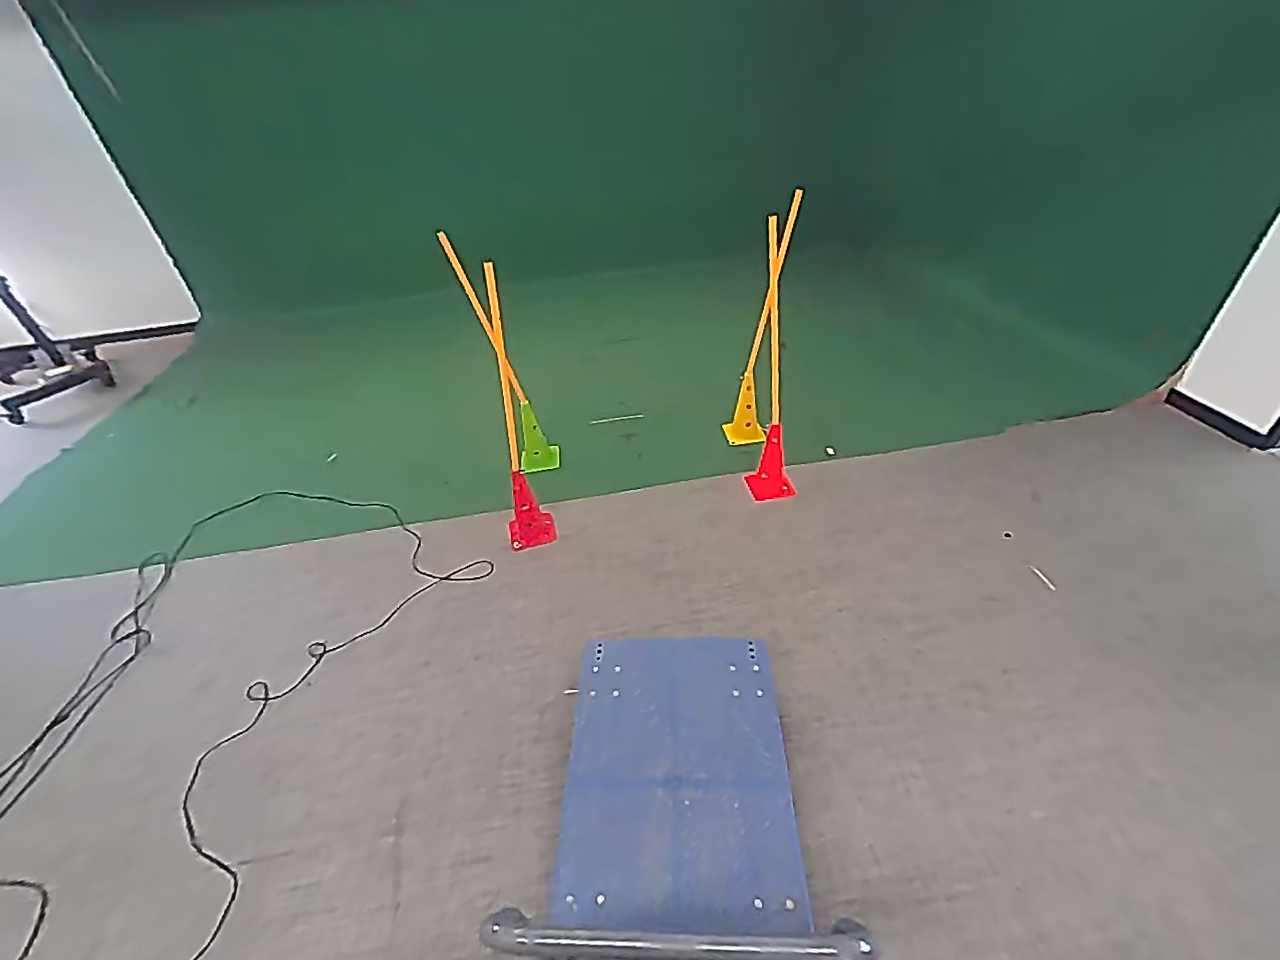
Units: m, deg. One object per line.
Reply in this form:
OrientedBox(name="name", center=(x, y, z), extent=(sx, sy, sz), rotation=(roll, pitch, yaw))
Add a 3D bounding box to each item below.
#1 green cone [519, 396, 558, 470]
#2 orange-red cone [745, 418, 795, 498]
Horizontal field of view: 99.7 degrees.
OrientedBox(name="green cone", center=(-0.548, -0.257, 2.734), extent=(0.200, 0.368, 0.202), rotation=(-9, 38, -3))
OrientedBox(name="orange-red cone", center=(0.594, -0.119, 2.430), extent=(0.198, 0.360, 0.199), rotation=(-8, 37, -4))
